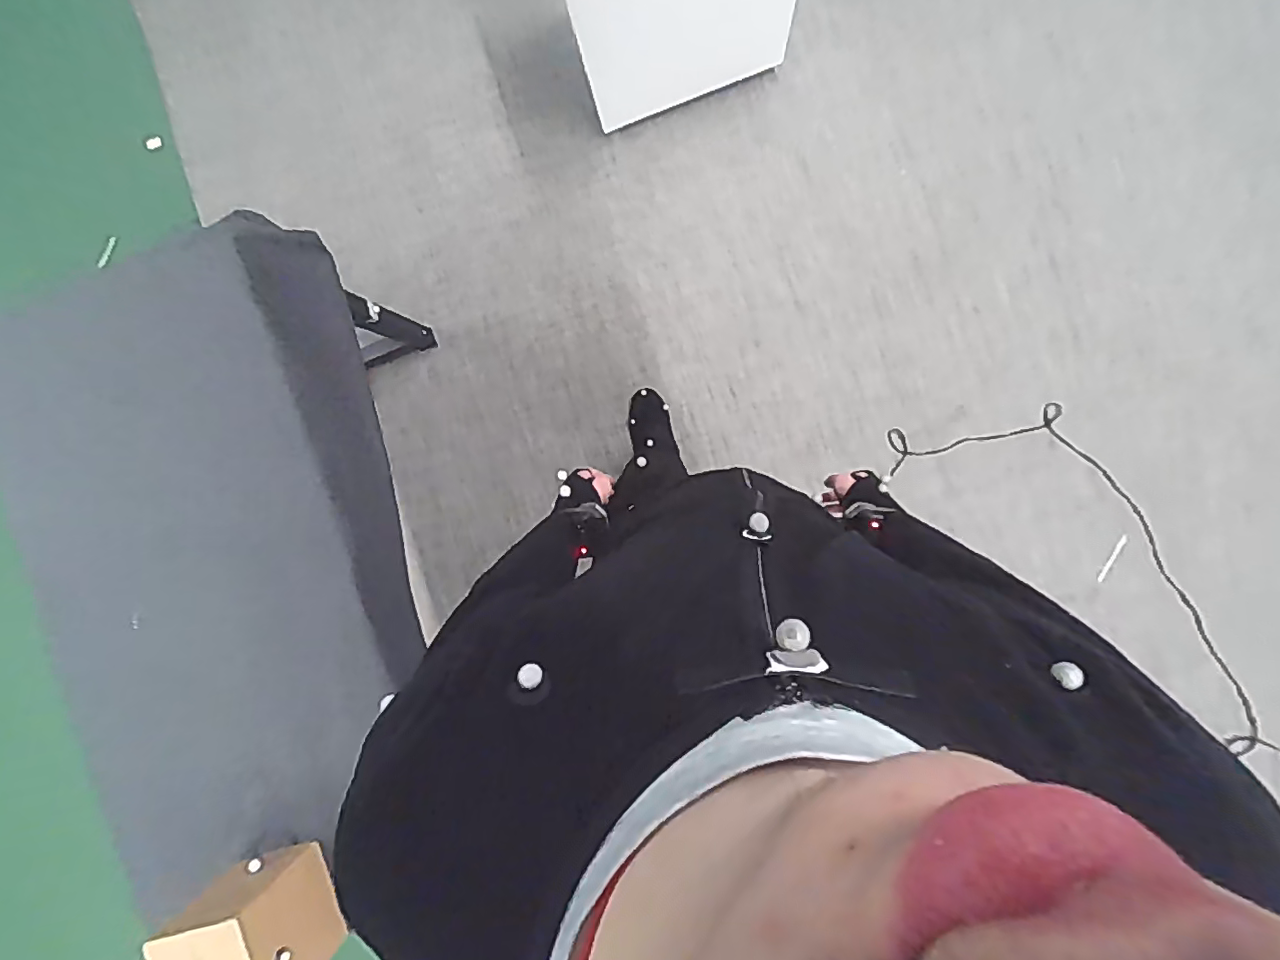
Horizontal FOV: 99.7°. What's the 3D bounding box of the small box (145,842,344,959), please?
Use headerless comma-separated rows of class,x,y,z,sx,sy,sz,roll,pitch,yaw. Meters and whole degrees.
small box,-0.610,0.729,0.859,0.168,0.176,0.179,-19,90,6
